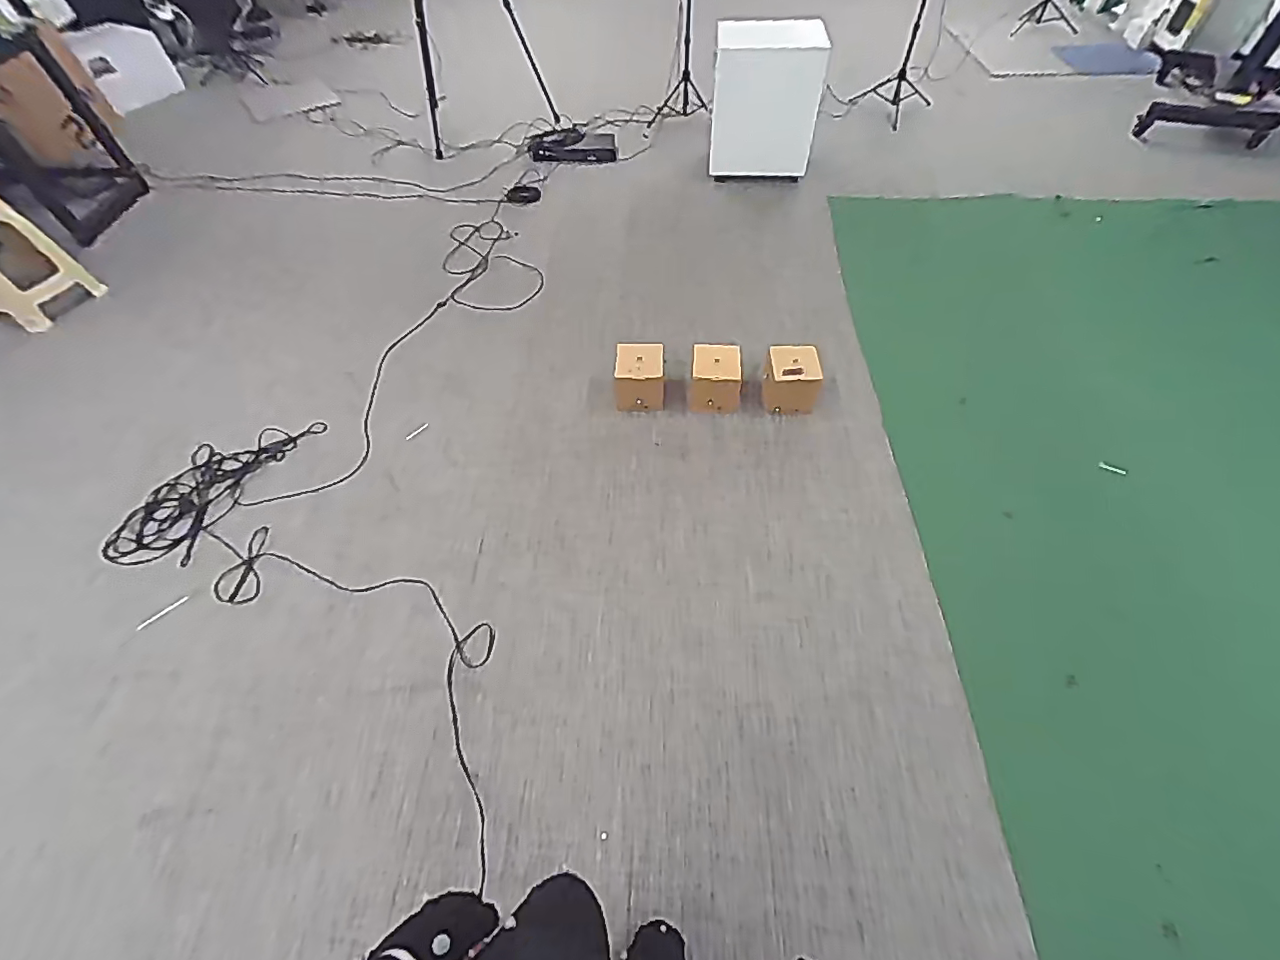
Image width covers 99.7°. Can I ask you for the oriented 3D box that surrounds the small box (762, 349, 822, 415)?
[{"bbox_3d":[0.538,-0.346,1.934,0.168,0.176,0.179,0,53,2],"label":"small box"}]

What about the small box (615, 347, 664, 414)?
[{"bbox_3d":[0.001,-0.360,1.957,0.168,0.176,0.179,0,54,3],"label":"small box"}]

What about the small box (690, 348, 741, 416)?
[{"bbox_3d":[0.269,-0.352,1.948,0.168,0.176,0.179,3,54,3],"label":"small box"}]
